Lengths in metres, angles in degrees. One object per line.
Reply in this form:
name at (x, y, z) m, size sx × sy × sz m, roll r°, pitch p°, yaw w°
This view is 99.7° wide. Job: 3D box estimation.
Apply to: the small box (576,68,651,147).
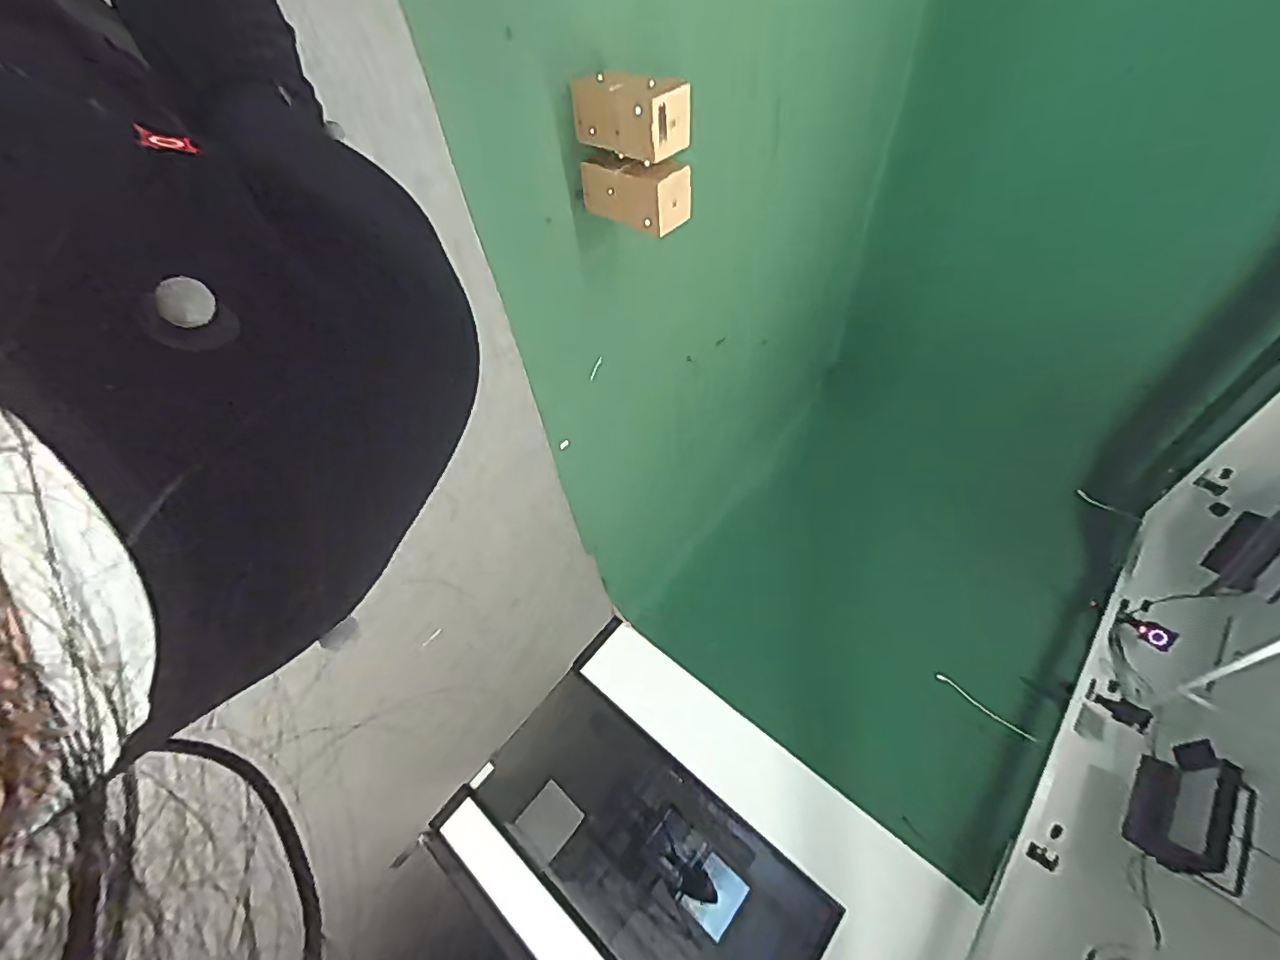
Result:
small box at (-0.086, -1.170, 1.696) m, size 0.179 × 0.176 × 0.168 m, roll -41°, pitch 148°, yaw -28°
